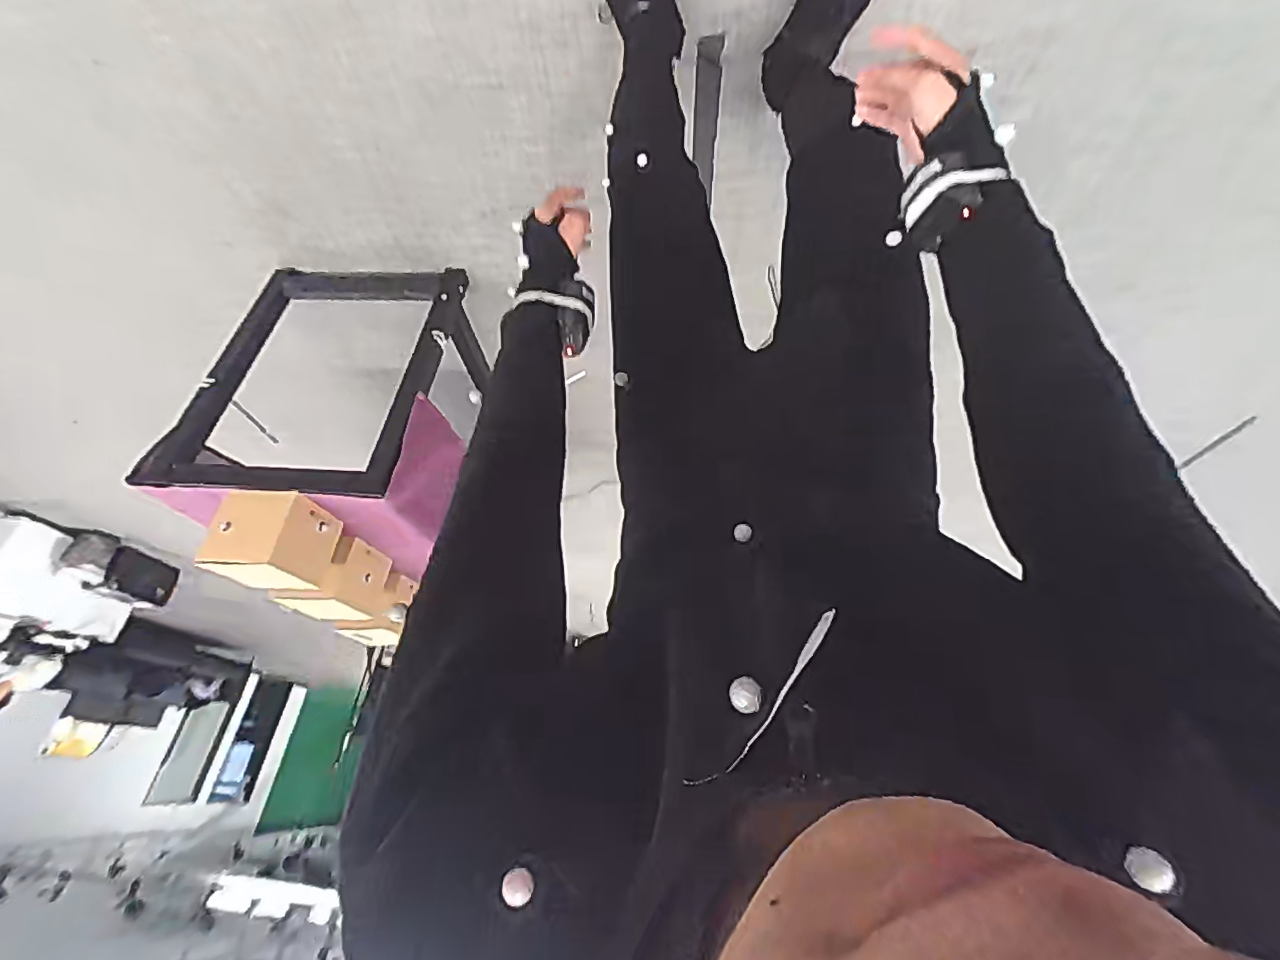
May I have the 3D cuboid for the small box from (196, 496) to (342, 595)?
[{"bbox_3d":[-0.805,0.144,1.193,0.179,0.176,0.168,1,151,9],"label":"small box"}]

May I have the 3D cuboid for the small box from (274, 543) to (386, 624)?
[{"bbox_3d":[-0.786,0.266,1.398,0.179,0.176,0.168,0,149,11],"label":"small box"}]
